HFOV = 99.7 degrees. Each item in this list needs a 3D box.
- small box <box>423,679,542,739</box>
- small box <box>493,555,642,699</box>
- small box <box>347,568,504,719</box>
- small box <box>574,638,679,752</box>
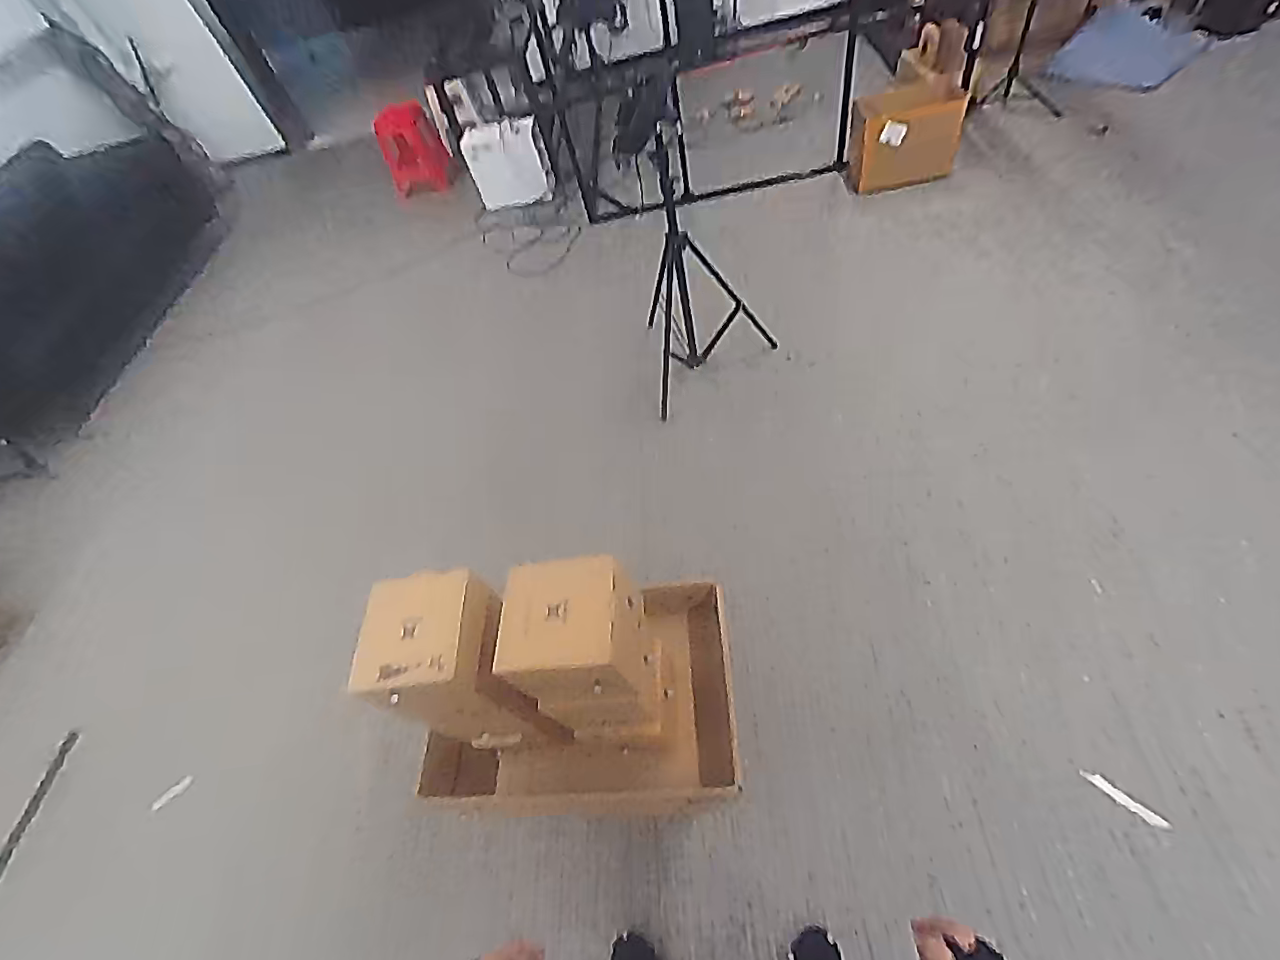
[{"bbox_3d":[-0.282,0.360,0.995,0.168,0.176,0.179,-9,53,8],"label":"small box"},{"bbox_3d":[-0.098,0.232,0.835,0.179,0.176,0.168,-9,53,13],"label":"small box"},{"bbox_3d":[-0.321,0.265,0.866,0.168,0.176,0.179,-10,52,9],"label":"small box"},{"bbox_3d":[-0.019,0.433,1.082,0.168,0.176,0.179,-7,54,13],"label":"small box"}]
